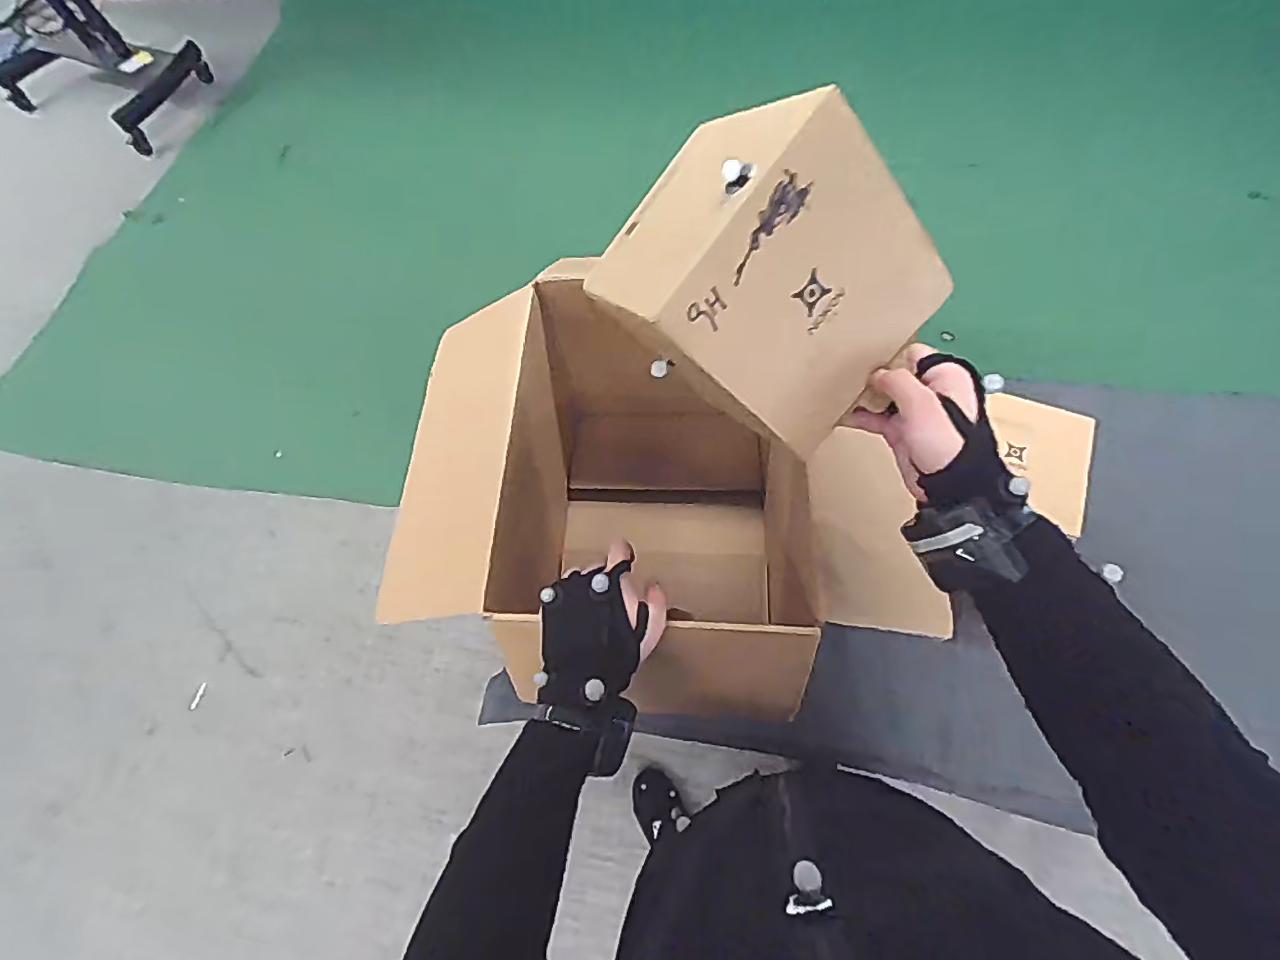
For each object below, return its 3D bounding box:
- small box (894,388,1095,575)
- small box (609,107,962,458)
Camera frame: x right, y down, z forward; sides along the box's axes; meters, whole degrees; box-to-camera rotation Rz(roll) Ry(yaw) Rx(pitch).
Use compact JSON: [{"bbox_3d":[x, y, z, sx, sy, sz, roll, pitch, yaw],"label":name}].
[{"bbox_3d":[0.473,0.010,0.745,0.168,0.176,0.179,21,67,12],"label":"small box"},{"bbox_3d":[0.104,-0.153,0.436,0.168,0.179,0.176,-50,32,8],"label":"small box"}]
